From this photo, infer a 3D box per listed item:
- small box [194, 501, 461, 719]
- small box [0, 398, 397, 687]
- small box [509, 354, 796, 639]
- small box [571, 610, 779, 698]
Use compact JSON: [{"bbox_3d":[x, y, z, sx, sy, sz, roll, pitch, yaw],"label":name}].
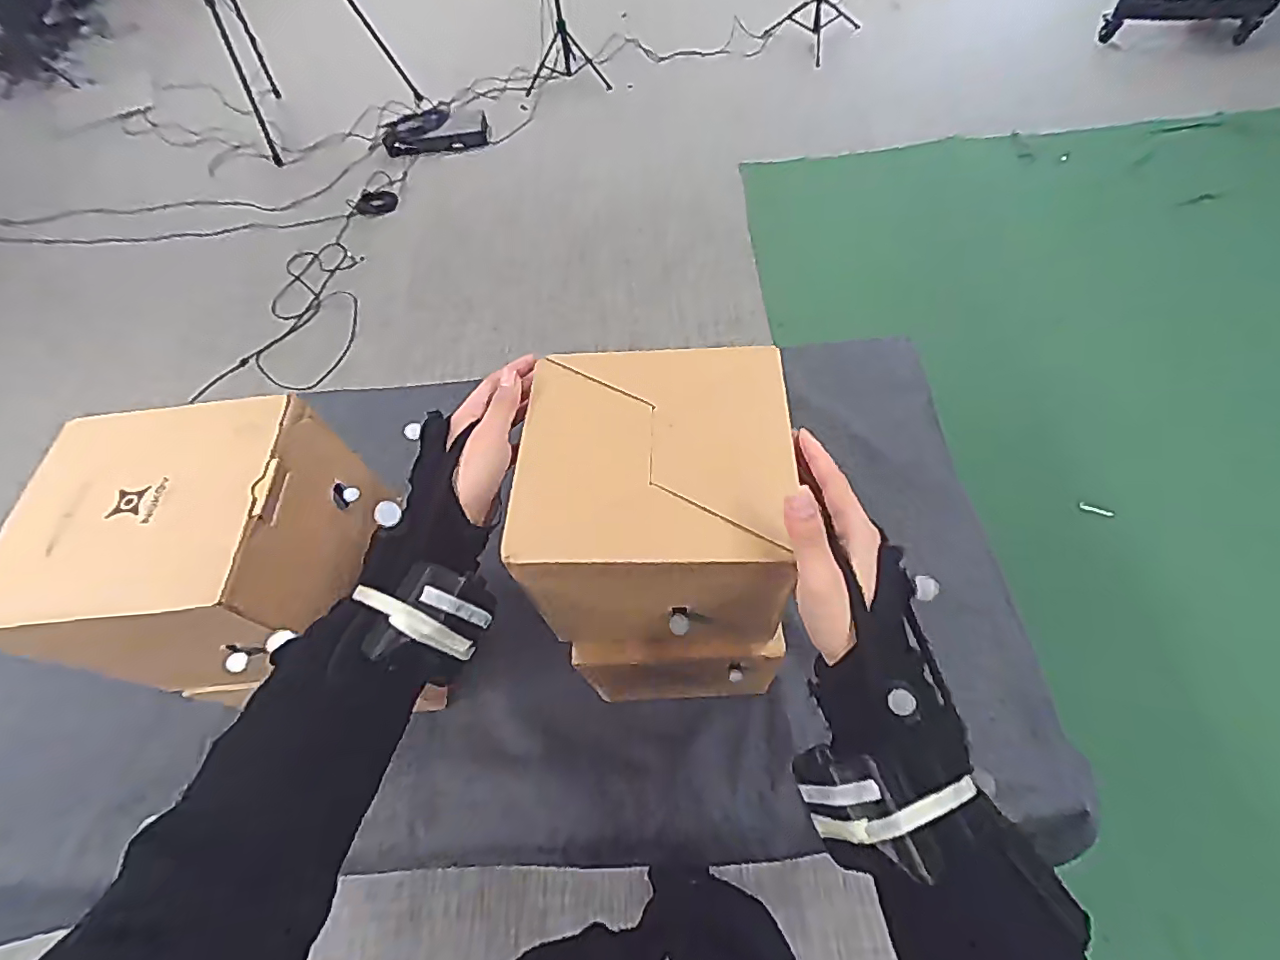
[{"bbox_3d":[-0.303,0.142,0.571,0.168,0.176,0.179,-6,58,3],"label":"small box"},{"bbox_3d":[-0.323,0.058,0.434,0.179,0.176,0.168,-7,57,2],"label":"small box"},{"bbox_3d":[0.016,0.020,0.420,0.179,0.176,0.168,-1,58,5],"label":"small box"},{"bbox_3d":[0.034,0.121,0.554,0.179,0.176,0.168,-4,58,3],"label":"small box"}]
